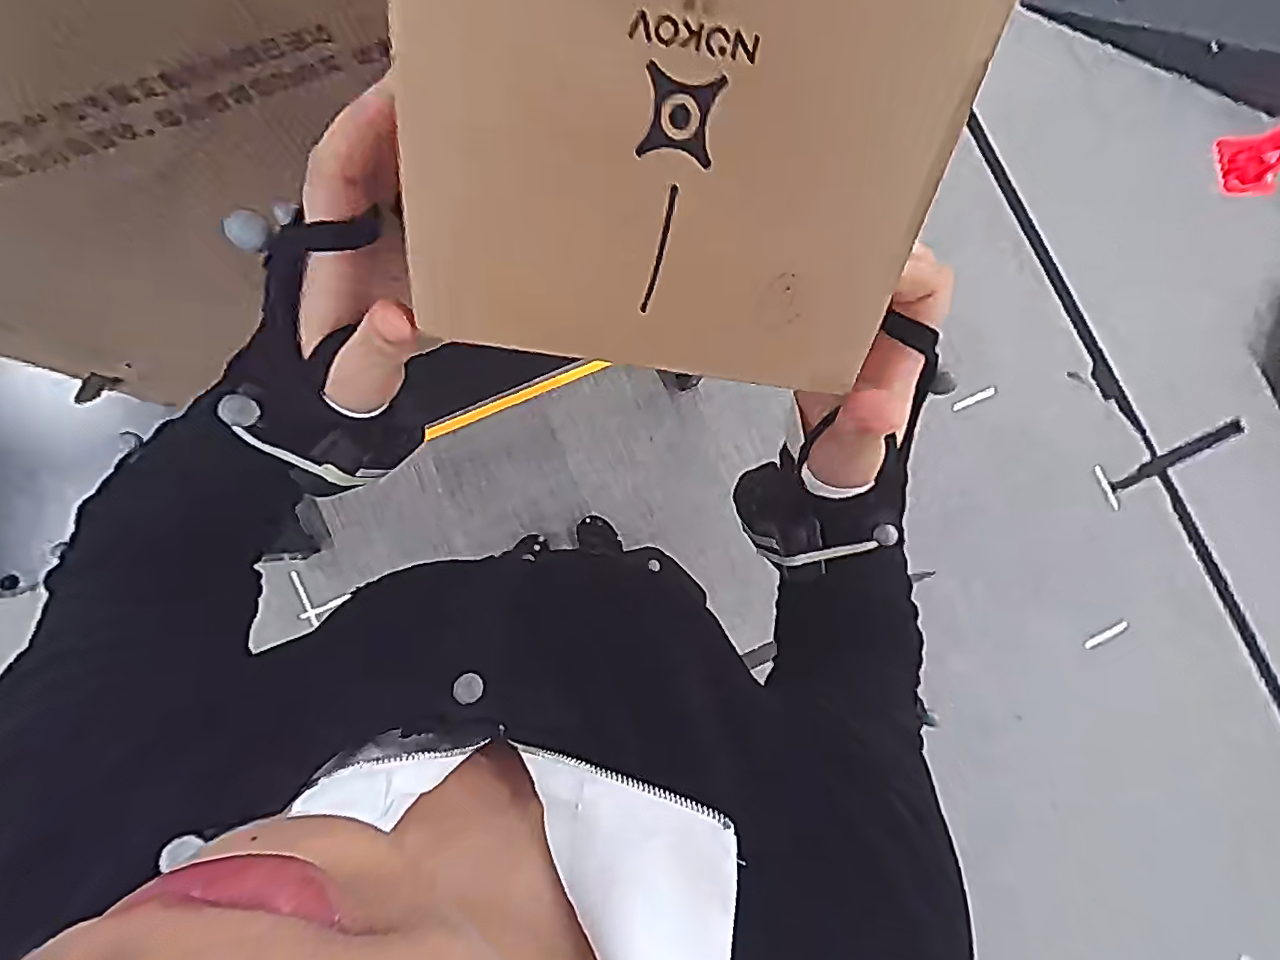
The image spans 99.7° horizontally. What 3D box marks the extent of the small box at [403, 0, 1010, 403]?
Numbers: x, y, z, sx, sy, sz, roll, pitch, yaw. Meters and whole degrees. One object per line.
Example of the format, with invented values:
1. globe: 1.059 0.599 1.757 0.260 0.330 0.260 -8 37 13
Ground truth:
1. small box: 0.013 -0.155 0.226 0.168 0.176 0.179 8 122 -6
